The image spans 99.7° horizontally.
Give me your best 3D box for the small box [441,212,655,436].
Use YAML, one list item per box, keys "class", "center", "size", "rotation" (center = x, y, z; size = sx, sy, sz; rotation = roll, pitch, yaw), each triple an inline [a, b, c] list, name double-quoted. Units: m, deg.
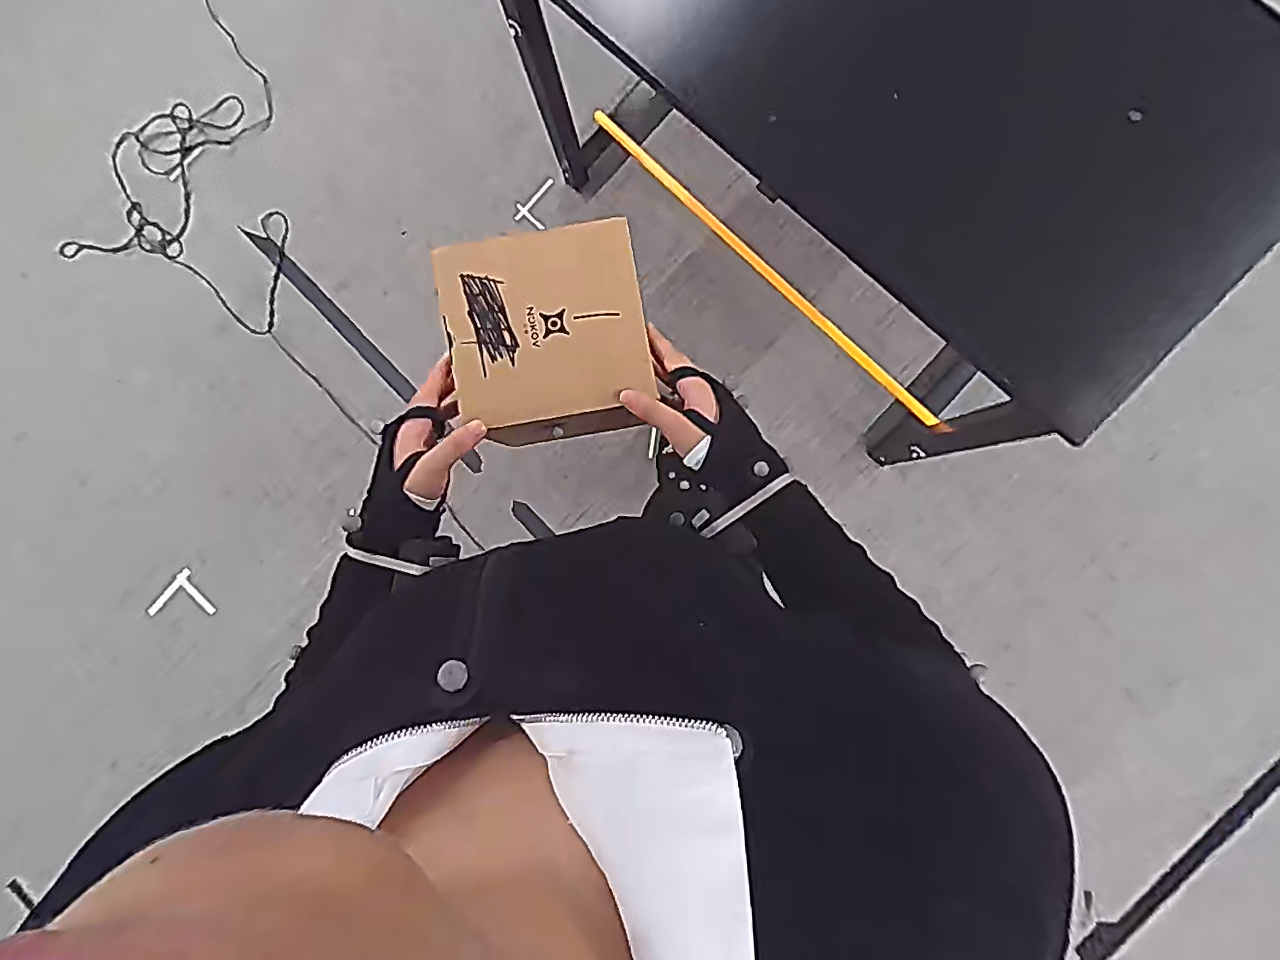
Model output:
- class: "small box"
  center: [-0.081, -0.144, 0.561]
  size: [0.179, 0.176, 0.168]
  rotation: [-9, 89, 0]
